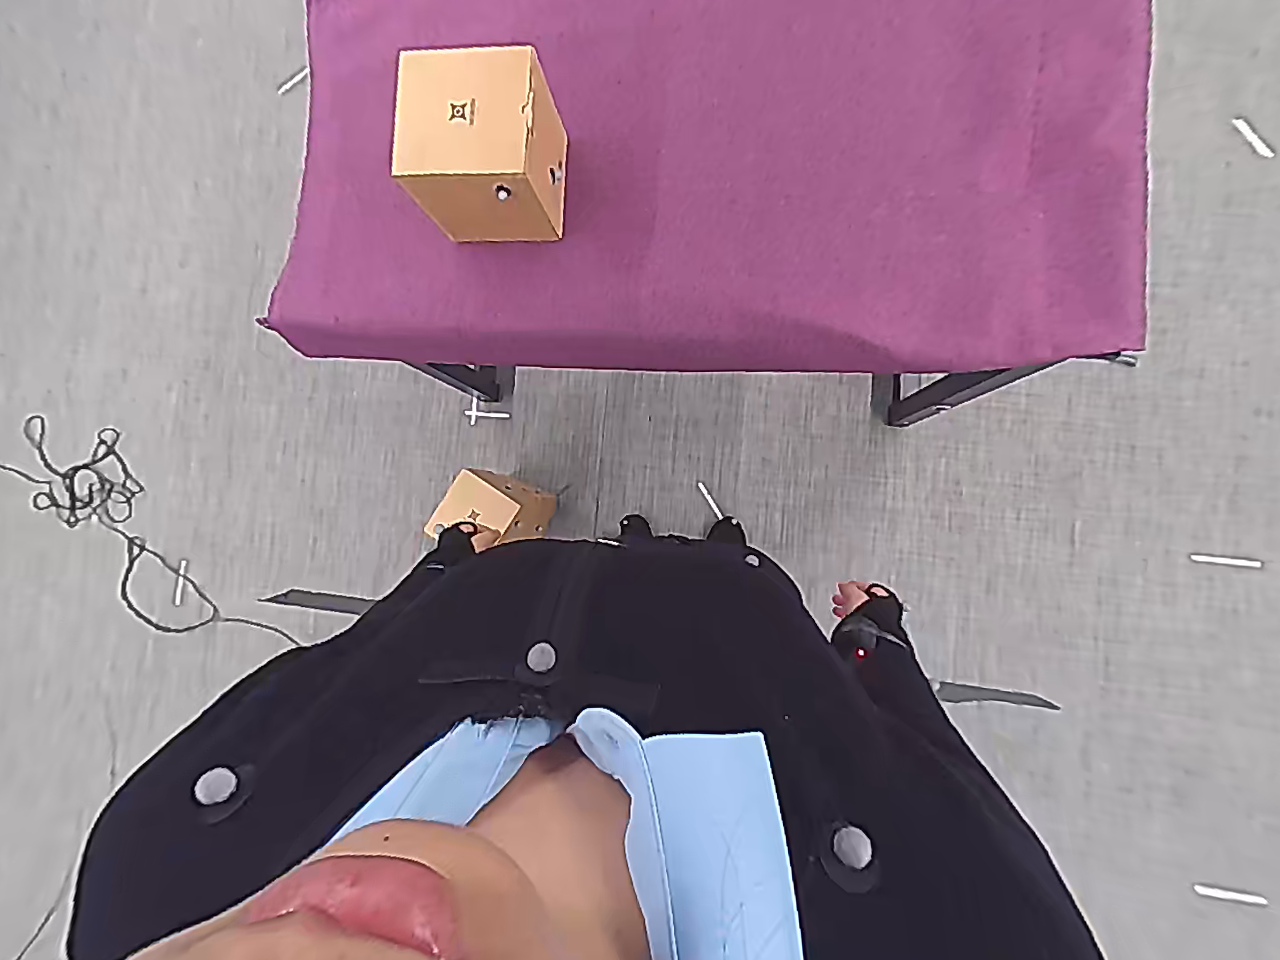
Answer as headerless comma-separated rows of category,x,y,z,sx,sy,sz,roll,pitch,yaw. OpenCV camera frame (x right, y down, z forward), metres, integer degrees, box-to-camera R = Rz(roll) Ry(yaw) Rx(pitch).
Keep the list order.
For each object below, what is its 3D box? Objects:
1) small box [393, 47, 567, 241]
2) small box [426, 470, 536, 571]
small box,-0.210,-0.449,0.748,0.179,0.176,0.168,2,86,5
small box,-0.369,0.094,1.301,0.168,0.176,0.179,33,92,7
